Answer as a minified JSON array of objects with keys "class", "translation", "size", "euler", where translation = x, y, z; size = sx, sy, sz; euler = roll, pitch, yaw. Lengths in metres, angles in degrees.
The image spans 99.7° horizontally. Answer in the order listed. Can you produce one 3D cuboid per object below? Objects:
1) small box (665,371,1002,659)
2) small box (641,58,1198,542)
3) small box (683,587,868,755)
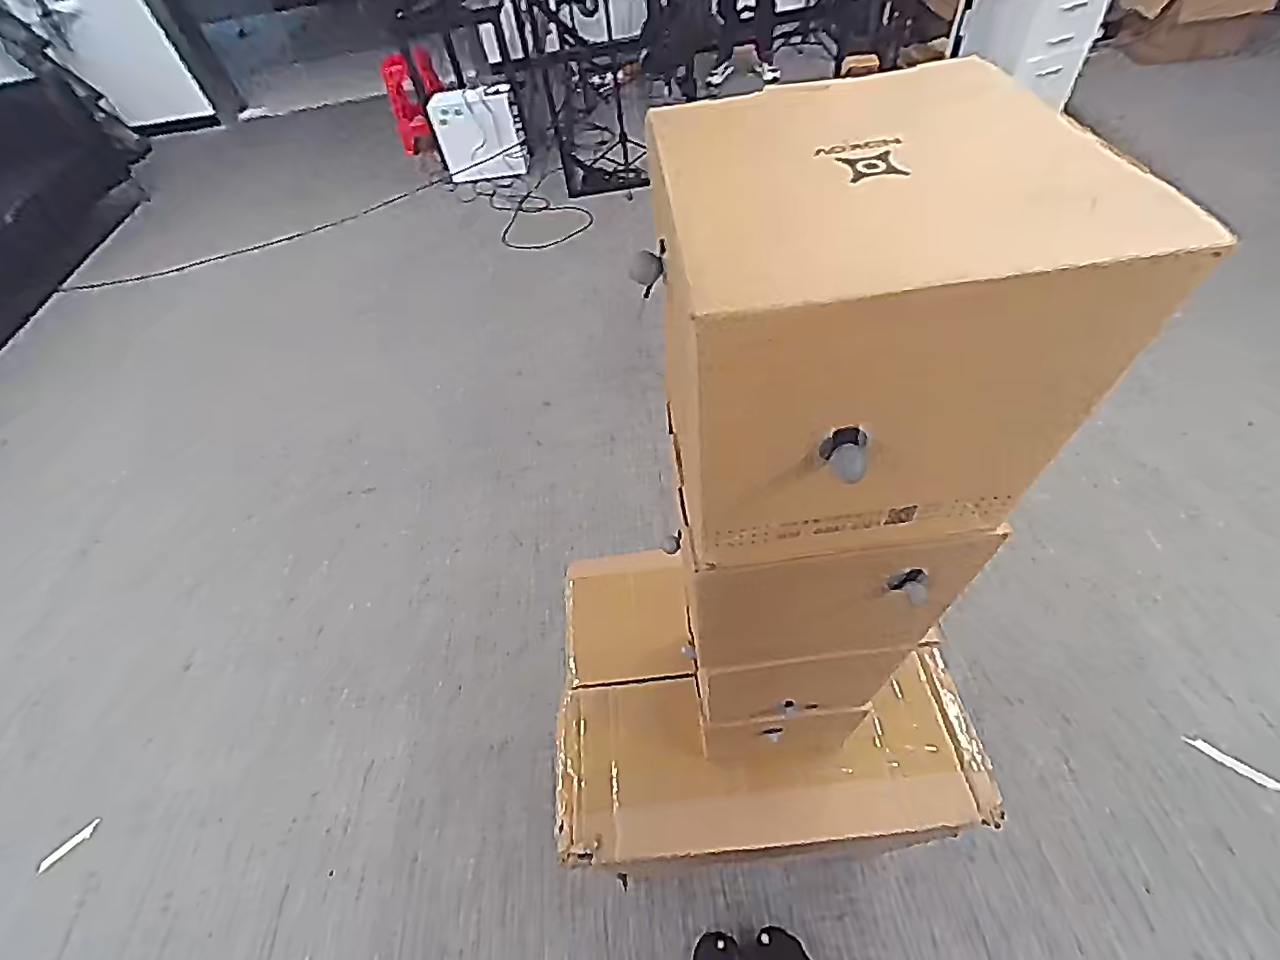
[{"class":"small box","translation":[0.116,0.022,0.408],"size":[0.179,0.176,0.168],"euler":[-7,52,3]},{"class":"small box","translation":[0.097,-0.080,0.283],"size":[0.168,0.176,0.179],"euler":[-8,52,2]},{"class":"small box","translation":[0.152,0.226,0.663],"size":[0.179,0.176,0.168],"euler":[-7,52,2]}]
